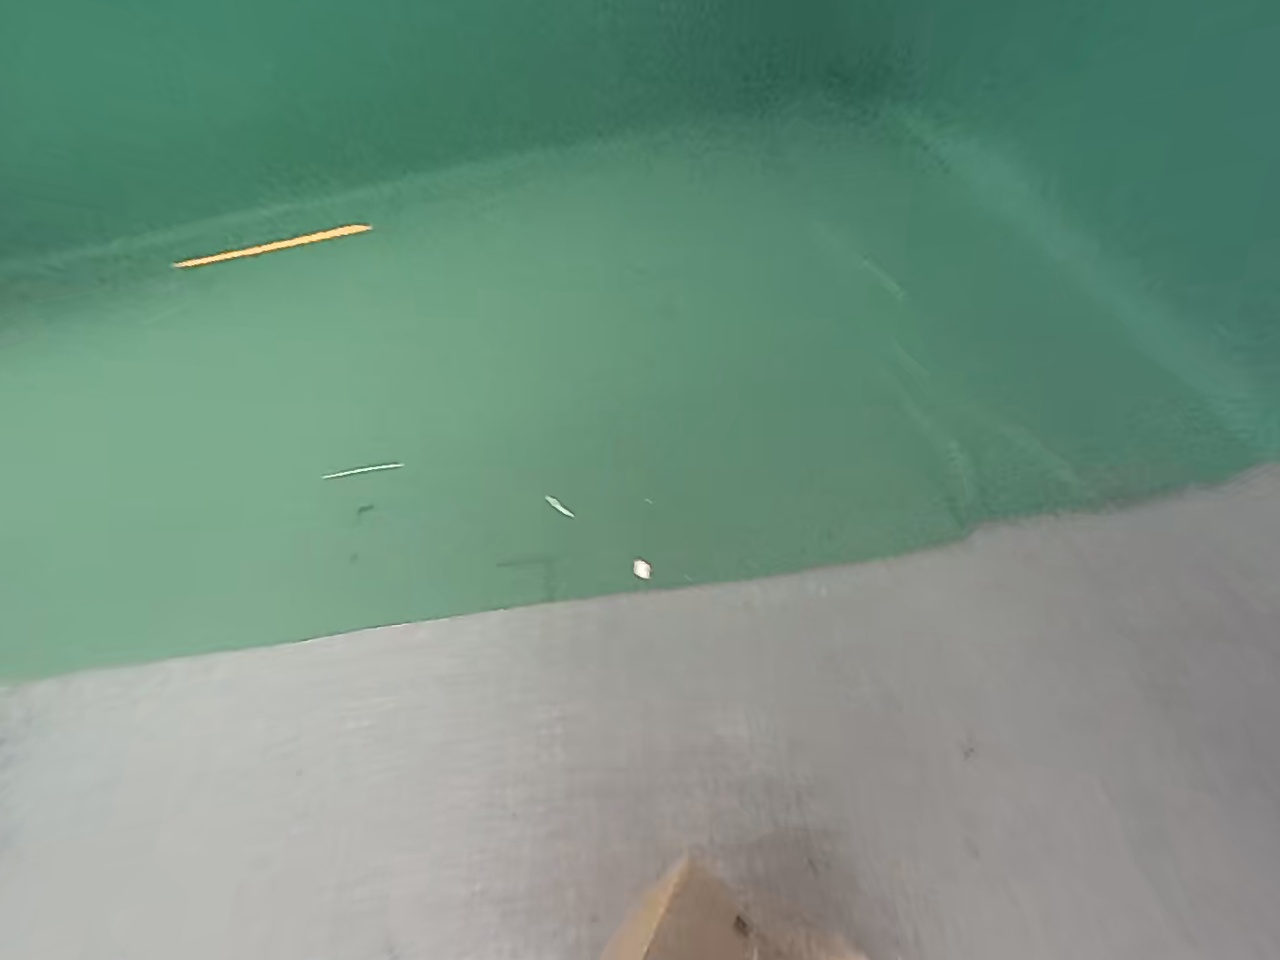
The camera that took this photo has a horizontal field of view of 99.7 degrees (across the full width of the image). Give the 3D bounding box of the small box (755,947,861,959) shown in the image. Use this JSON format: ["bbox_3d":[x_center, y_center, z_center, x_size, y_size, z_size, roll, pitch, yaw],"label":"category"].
[{"bbox_3d":[0.266,0.825,0.805,0.168,0.176,0.179,-10,52,3],"label":"small box"}]
